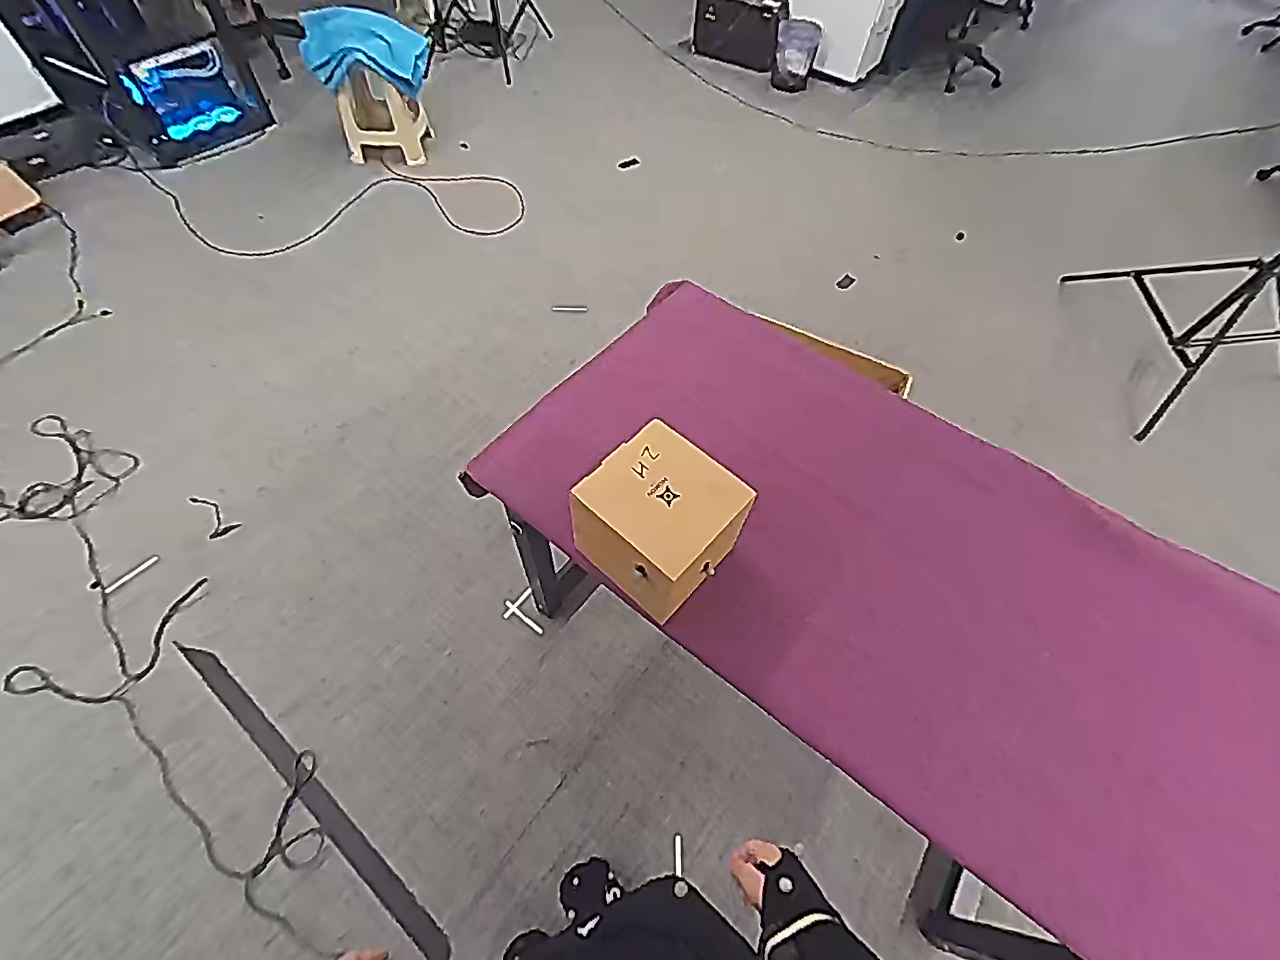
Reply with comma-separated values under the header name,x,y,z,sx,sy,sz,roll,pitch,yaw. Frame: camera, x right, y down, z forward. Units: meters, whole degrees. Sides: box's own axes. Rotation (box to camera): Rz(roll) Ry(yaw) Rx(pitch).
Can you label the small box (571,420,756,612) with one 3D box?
name,x,y,z,sx,sy,sz,roll,pitch,yaw
small box,0.027,0.058,0.741,0.179,0.176,0.168,38,63,19
